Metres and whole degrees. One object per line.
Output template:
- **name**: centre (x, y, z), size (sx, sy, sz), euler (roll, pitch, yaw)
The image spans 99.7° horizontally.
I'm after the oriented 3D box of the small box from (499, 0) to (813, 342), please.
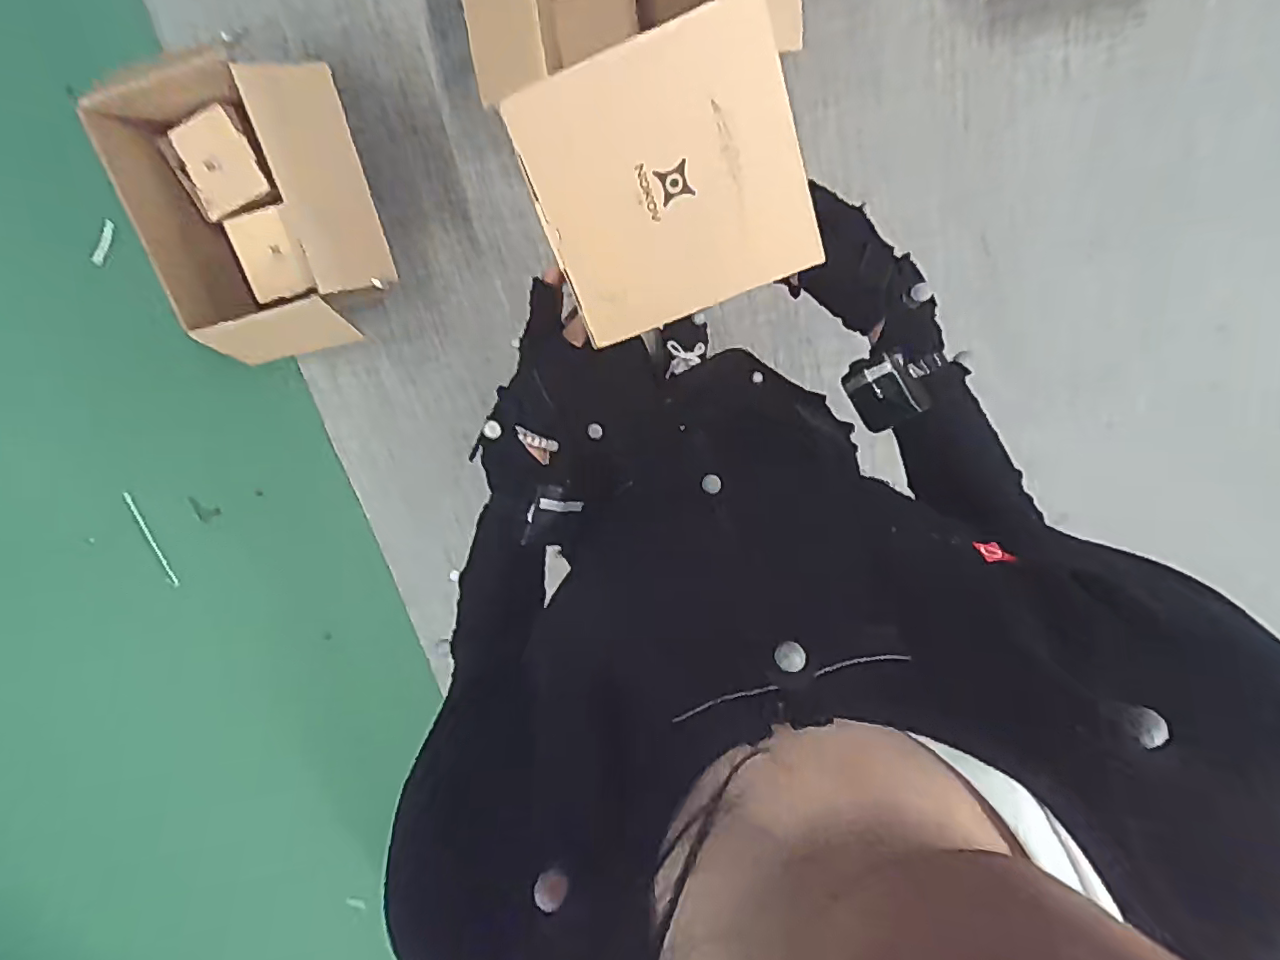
- **small box**: centre (0.016, -0.227, 0.437), size (0.179, 0.176, 0.168), euler (-19, 112, 8)
